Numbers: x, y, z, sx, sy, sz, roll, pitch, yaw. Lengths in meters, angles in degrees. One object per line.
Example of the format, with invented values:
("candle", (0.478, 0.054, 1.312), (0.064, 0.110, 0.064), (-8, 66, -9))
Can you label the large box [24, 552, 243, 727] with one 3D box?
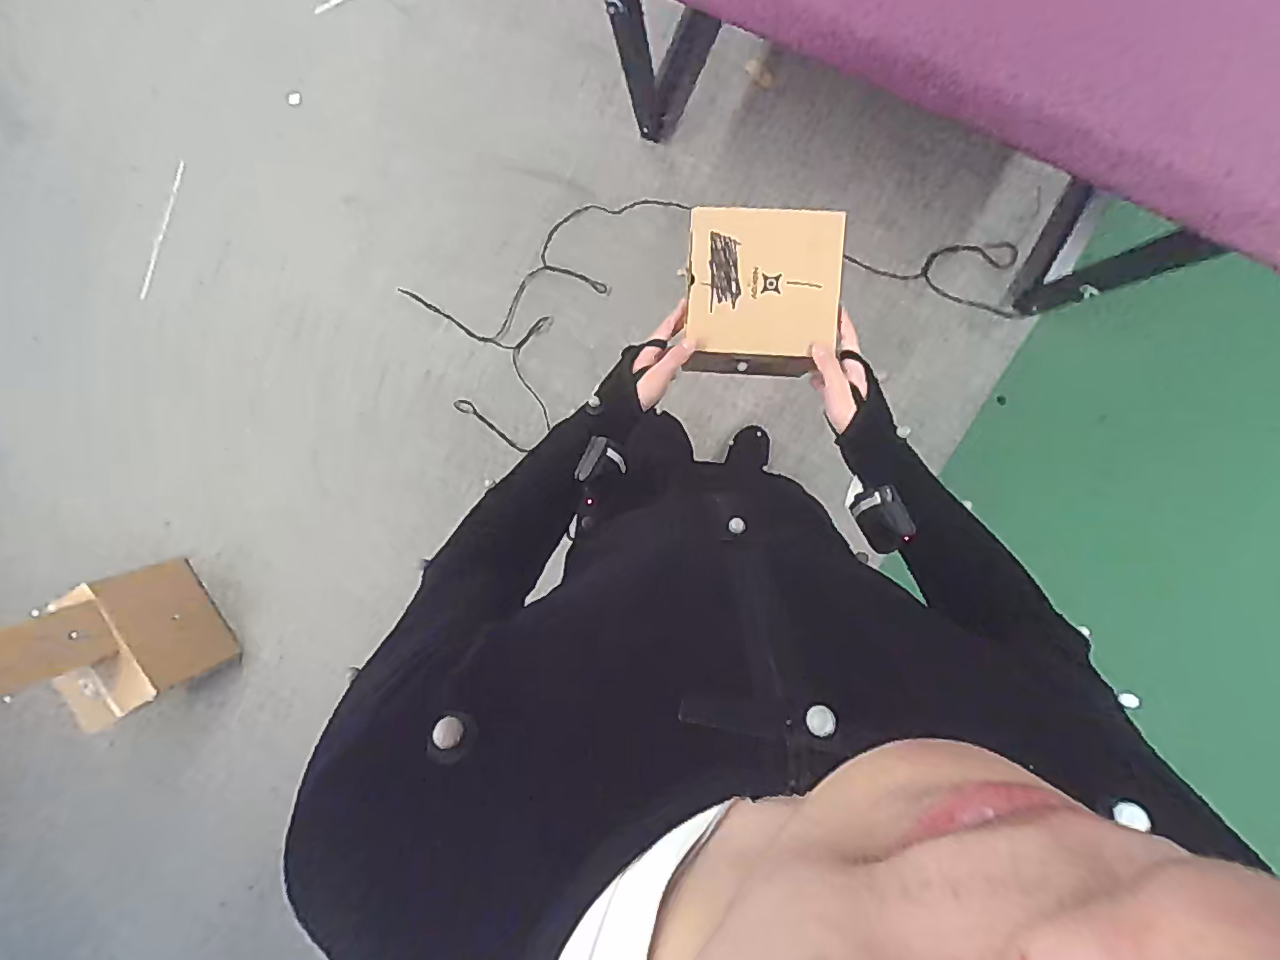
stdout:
("large box", (-1.656, 0.511, 1.795), (0.320, 0.320, 0.408), (-30, 93, 12))

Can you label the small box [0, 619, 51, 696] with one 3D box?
("small box", (-1.694, 0.477, 1.381), (0.168, 0.176, 0.179), (-26, 94, 9))

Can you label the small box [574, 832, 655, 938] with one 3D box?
("small box", (-0.060, 1.041, 1.390), (0.179, 0.176, 0.168), (-3, 97, 8))

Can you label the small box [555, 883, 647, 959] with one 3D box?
("small box", (-0.082, 1.061, 1.228), (0.179, 0.176, 0.168), (-1, 98, 8))

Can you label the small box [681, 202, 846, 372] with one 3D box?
("small box", (0.144, -0.233, 0.692), (0.179, 0.176, 0.168), (3, 94, 3))
